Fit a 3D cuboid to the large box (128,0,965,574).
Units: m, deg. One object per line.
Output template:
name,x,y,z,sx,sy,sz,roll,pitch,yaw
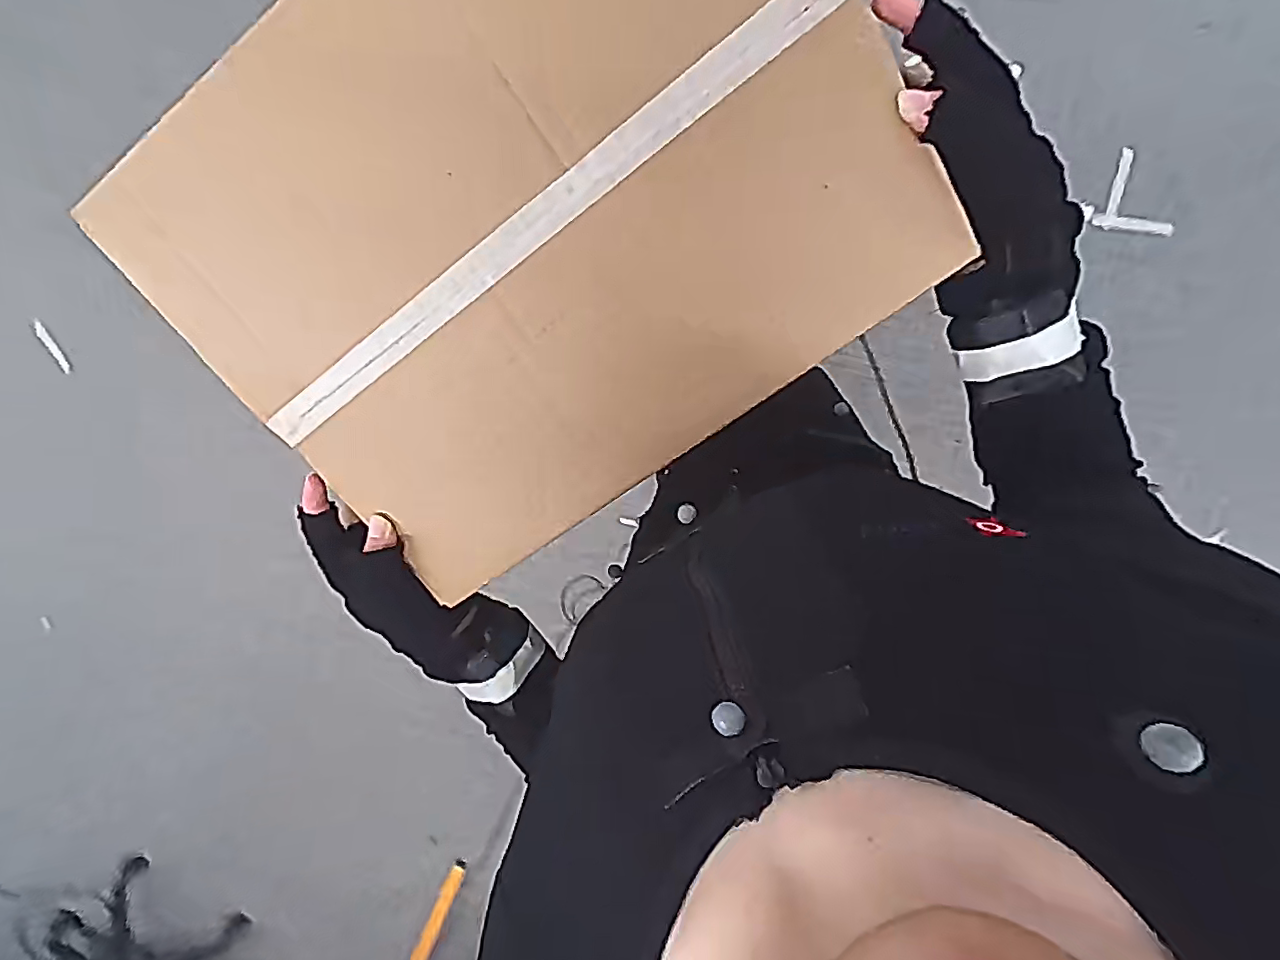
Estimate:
large box,-0.054,-0.200,0.456,0.408,0.320,0.320,-33,106,11
